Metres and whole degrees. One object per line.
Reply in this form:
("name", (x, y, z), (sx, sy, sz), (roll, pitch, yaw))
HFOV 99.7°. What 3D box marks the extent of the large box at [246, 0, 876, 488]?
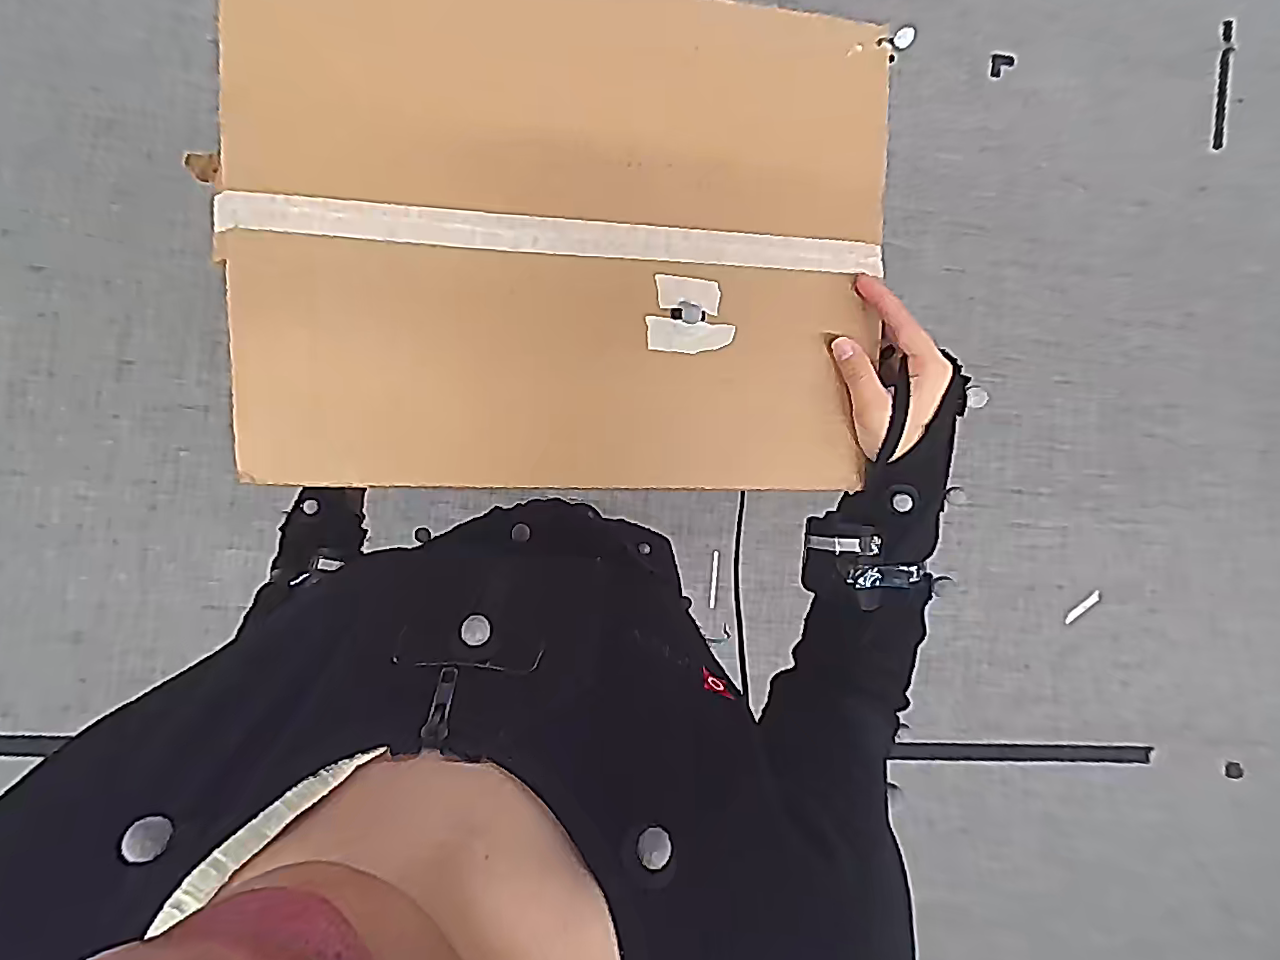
("large box", (-0.059, -0.162, 0.497), (0.408, 0.320, 0.320), (0, 95, -10))
